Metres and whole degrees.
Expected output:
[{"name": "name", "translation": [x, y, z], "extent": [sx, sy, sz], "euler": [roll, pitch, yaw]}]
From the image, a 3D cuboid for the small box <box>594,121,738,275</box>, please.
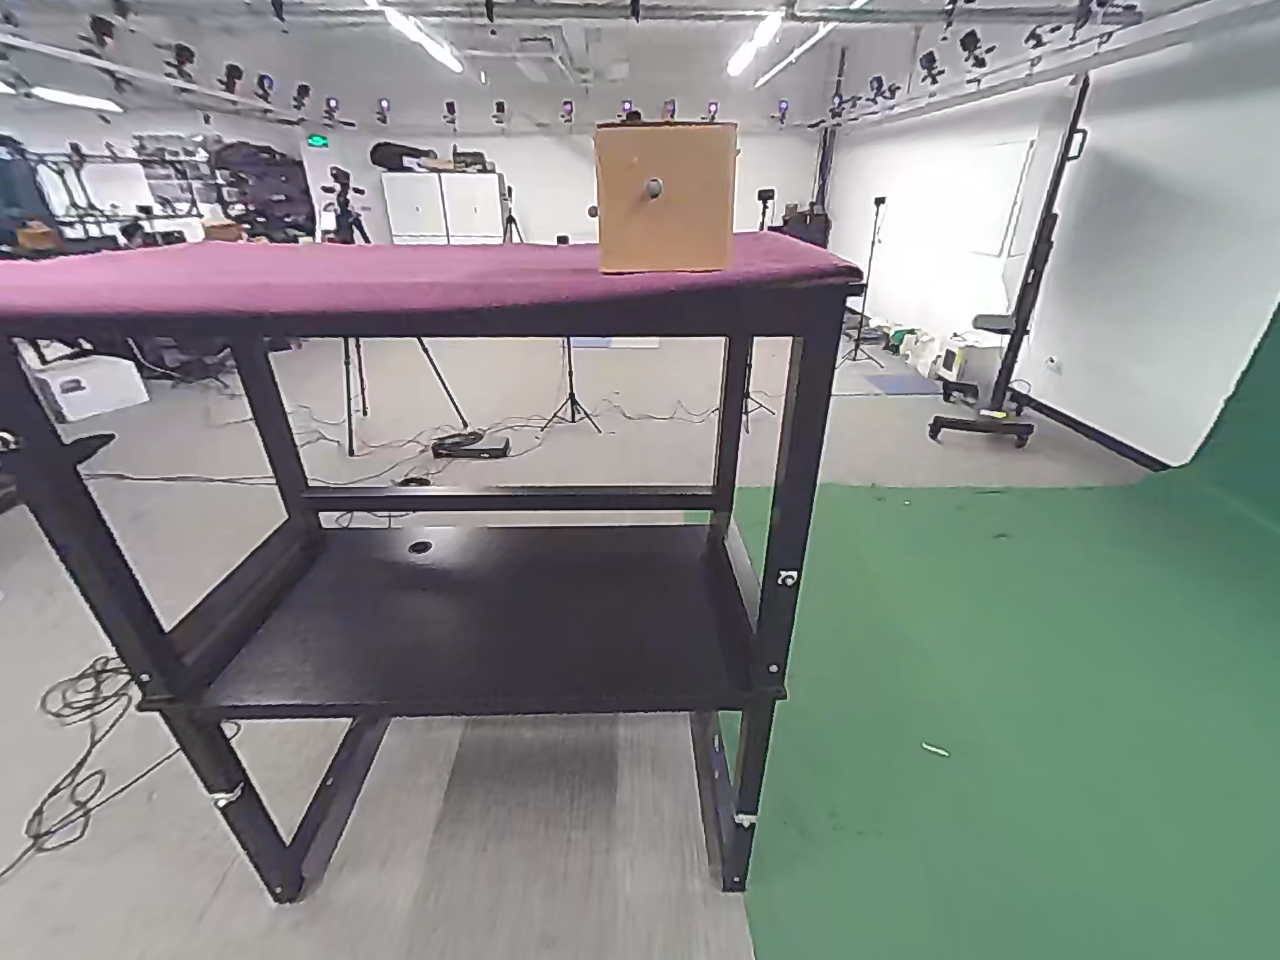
[{"name": "small box", "translation": [0.034, -0.379, 0.748], "extent": [0.179, 0.176, 0.168], "euler": [-2, 25, 0]}]
